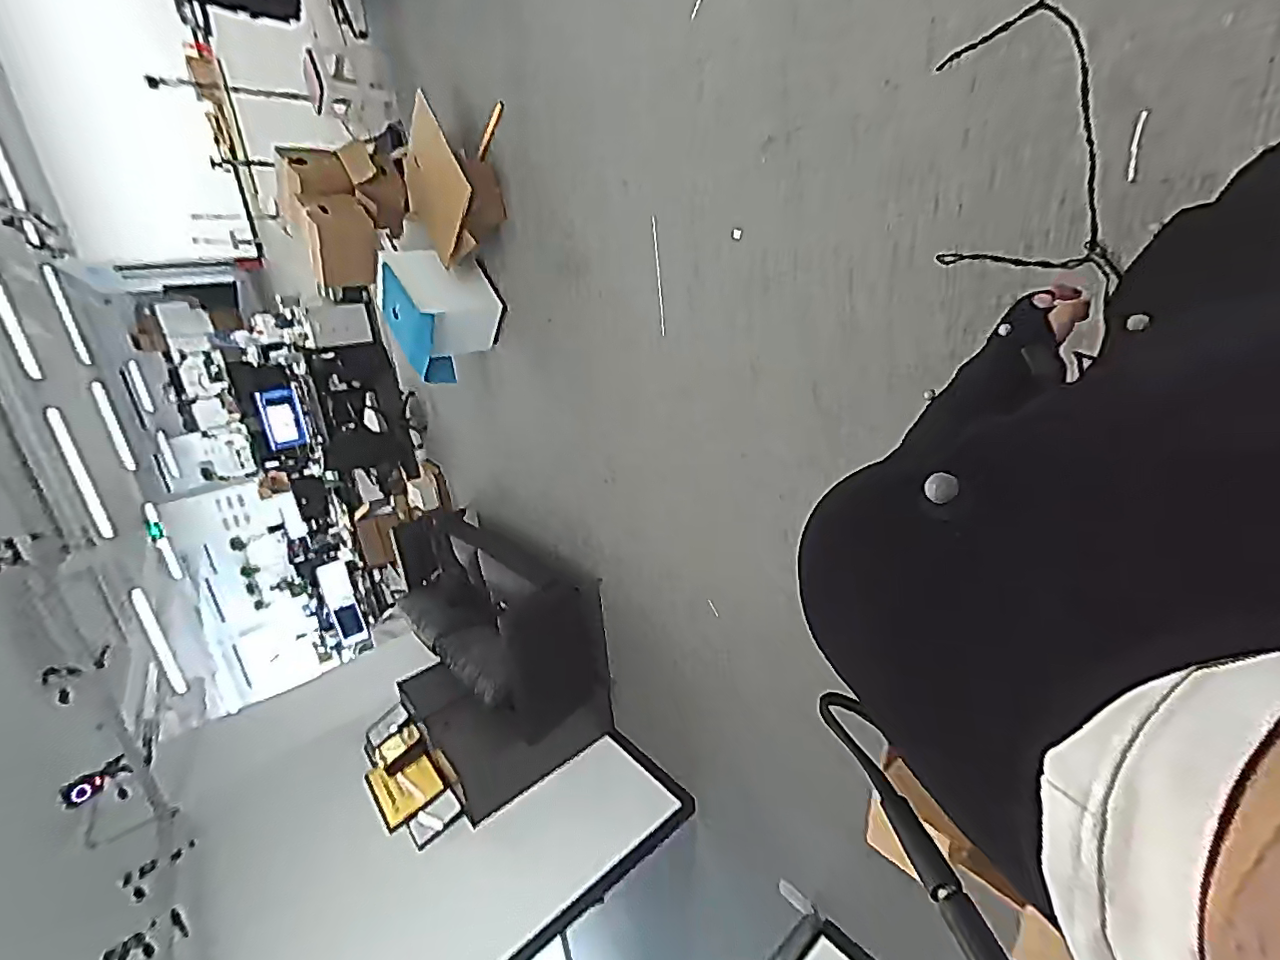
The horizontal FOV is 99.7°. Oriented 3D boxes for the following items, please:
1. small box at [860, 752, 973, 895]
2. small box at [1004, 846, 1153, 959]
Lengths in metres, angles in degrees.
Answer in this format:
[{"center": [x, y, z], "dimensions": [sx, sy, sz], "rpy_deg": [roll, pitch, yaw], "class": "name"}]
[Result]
[{"center": [0.624, 0.759, 1.217], "dimensions": [0.168, 0.176, 0.179], "rpy_deg": [20, 121, 47], "class": "small box"}, {"center": [0.814, 0.846, 1.006], "dimensions": [0.168, 0.176, 0.179], "rpy_deg": [20, 121, 46], "class": "small box"}]
